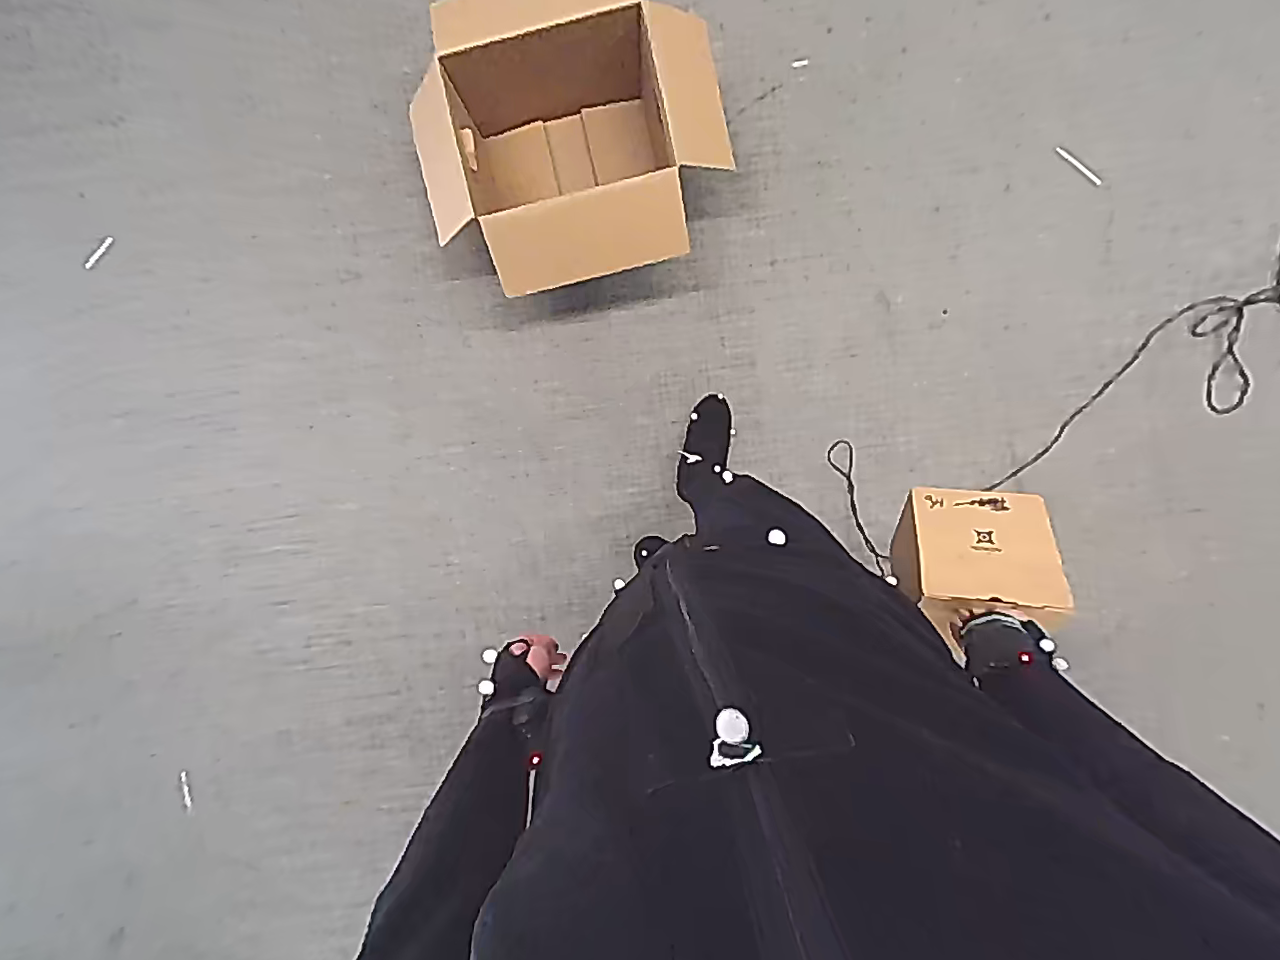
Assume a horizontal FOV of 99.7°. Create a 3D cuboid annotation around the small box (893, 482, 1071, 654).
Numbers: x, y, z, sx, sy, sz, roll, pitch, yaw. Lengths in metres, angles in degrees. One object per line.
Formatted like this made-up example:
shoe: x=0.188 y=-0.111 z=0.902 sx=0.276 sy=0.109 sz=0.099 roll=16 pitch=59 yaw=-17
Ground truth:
small box: x=0.463 y=0.126 z=0.765 sx=0.168 sy=0.176 sz=0.179 roll=5 pitch=52 yaw=16
